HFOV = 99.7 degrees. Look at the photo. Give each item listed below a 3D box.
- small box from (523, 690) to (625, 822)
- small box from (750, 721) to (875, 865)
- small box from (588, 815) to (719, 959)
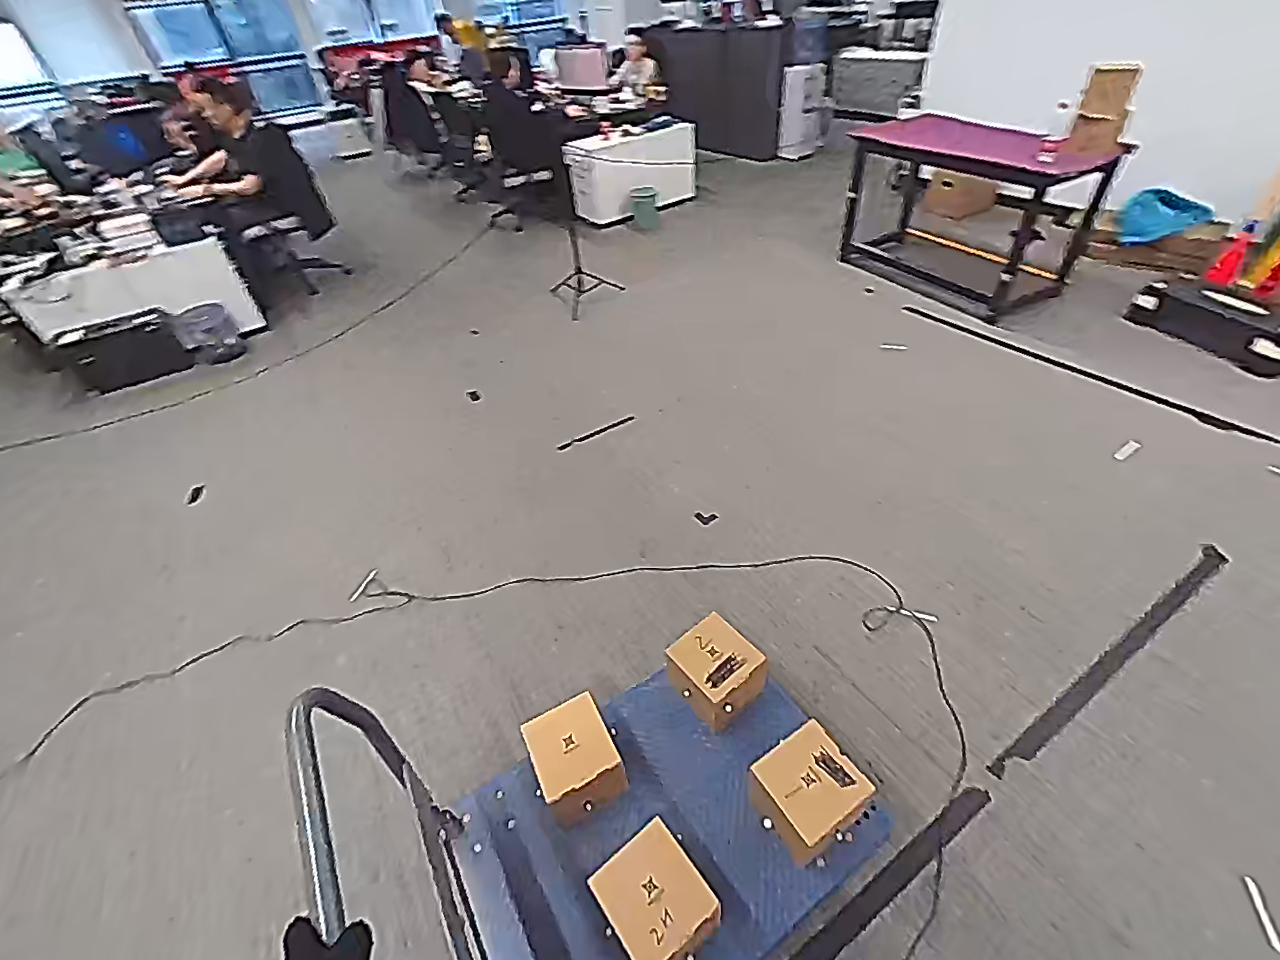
[{"bbox_3d":[-0.143,0.610,1.194,0.168,0.176,0.179,-22,47,-17],"label":"small box"},{"bbox_3d":[0.340,0.638,1.104,0.179,0.176,0.168,-26,46,-19],"label":"small box"},{"bbox_3d":[0.026,0.774,0.995,0.168,0.176,0.179,-30,47,-23],"label":"small box"}]
